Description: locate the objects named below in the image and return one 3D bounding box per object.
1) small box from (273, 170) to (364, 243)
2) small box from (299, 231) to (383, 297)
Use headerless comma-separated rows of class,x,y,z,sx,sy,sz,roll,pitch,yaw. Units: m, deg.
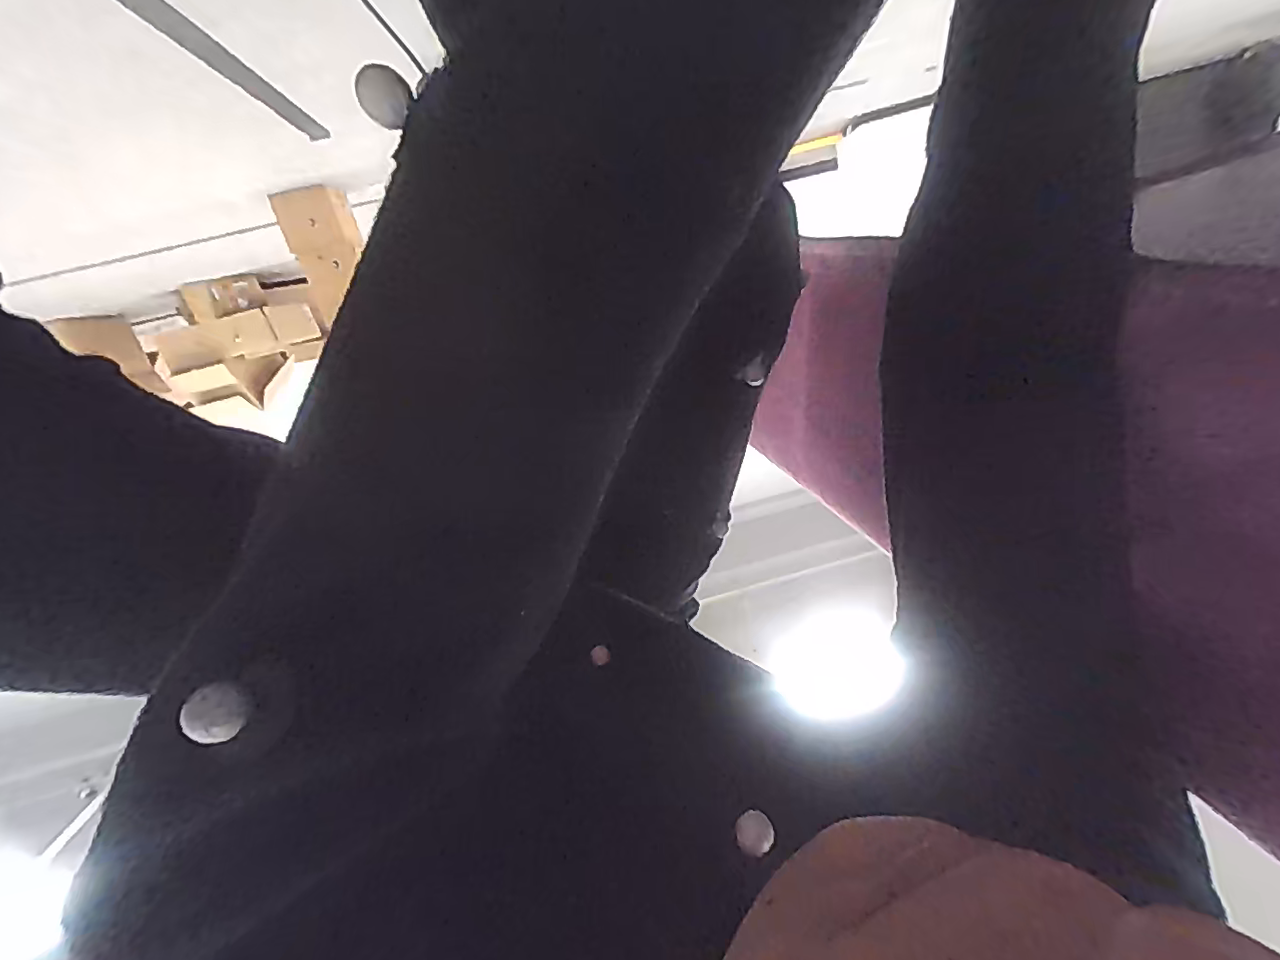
small box,-1.003,-0.843,1.686,0.179,0.176,0.168,-15,-159,-2
small box,-0.966,-0.700,1.756,0.168,0.176,0.179,-16,-160,-7
